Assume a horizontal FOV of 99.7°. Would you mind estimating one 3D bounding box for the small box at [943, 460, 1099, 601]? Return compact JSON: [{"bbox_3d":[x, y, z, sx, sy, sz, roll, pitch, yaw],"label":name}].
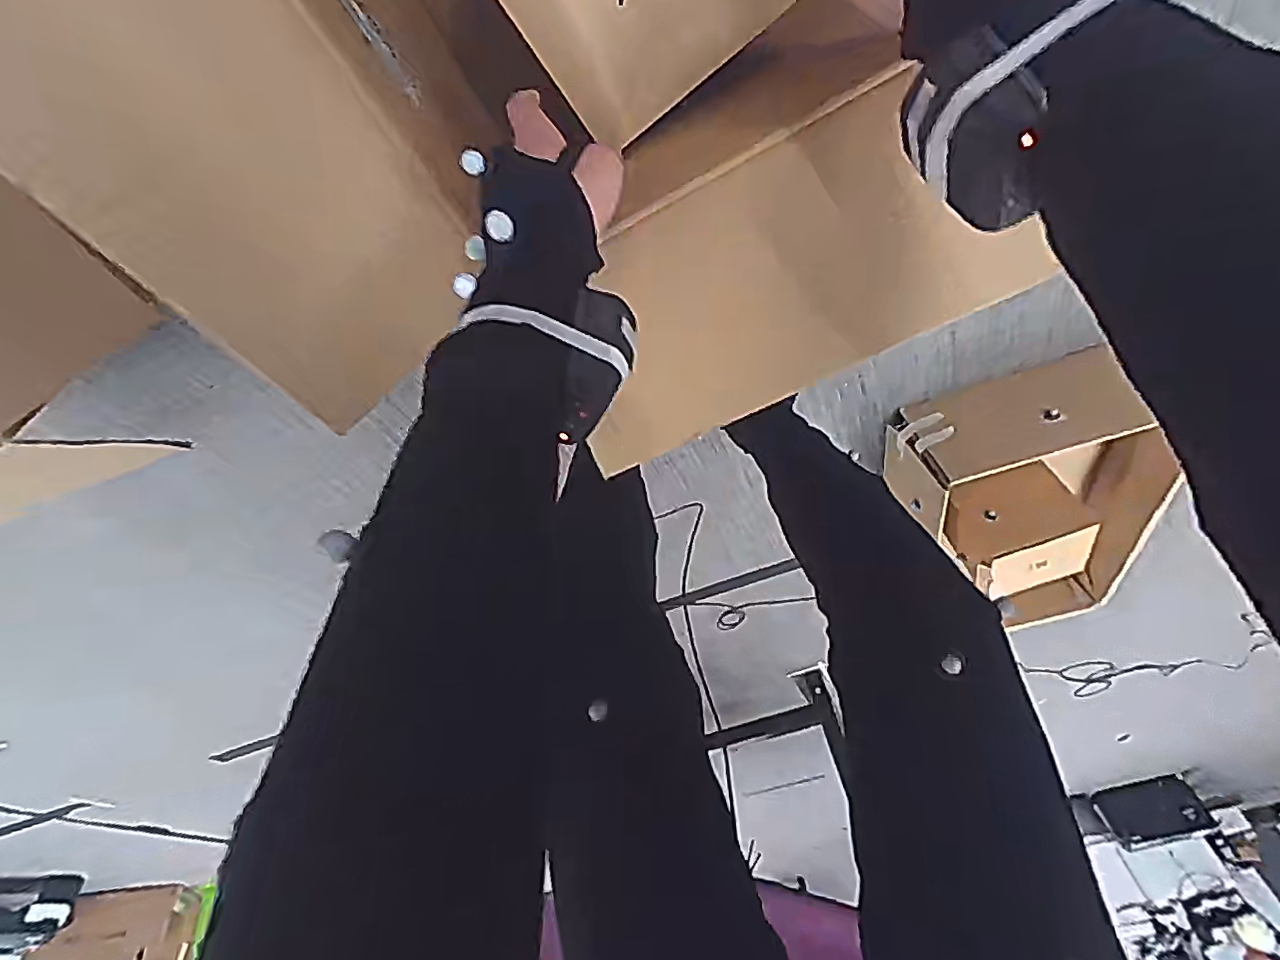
[{"bbox_3d":[0.692,0.094,1.009,0.179,0.176,0.168,-21,136,12],"label":"small box"}]
